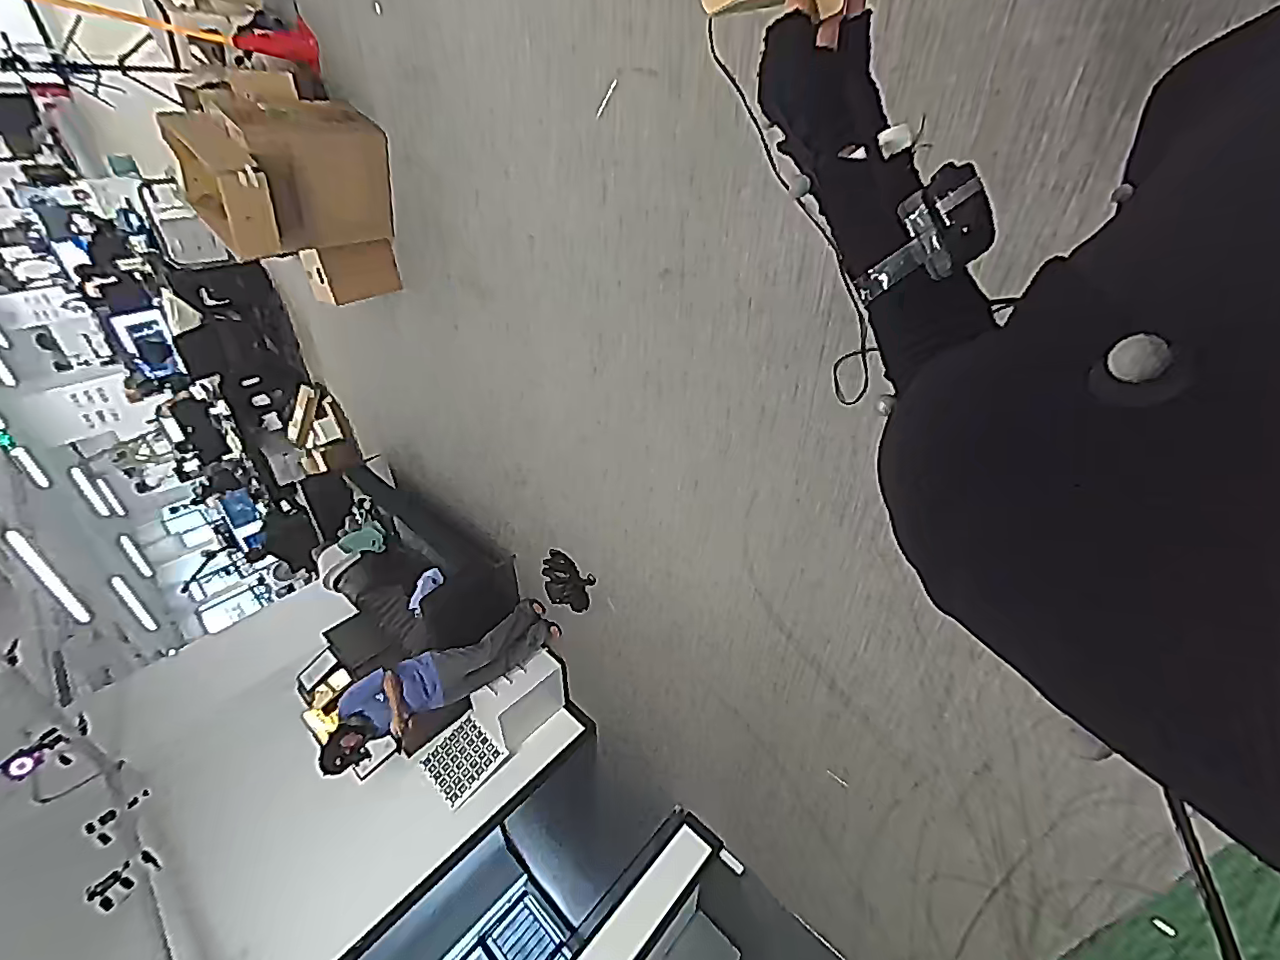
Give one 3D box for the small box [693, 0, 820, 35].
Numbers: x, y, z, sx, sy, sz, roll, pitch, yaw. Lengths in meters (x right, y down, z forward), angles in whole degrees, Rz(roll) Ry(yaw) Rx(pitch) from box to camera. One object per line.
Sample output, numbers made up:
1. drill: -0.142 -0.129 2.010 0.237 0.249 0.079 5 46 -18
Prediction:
1. small box: 0.128 -0.457 0.376 0.168 0.176 0.179 7 129 42
